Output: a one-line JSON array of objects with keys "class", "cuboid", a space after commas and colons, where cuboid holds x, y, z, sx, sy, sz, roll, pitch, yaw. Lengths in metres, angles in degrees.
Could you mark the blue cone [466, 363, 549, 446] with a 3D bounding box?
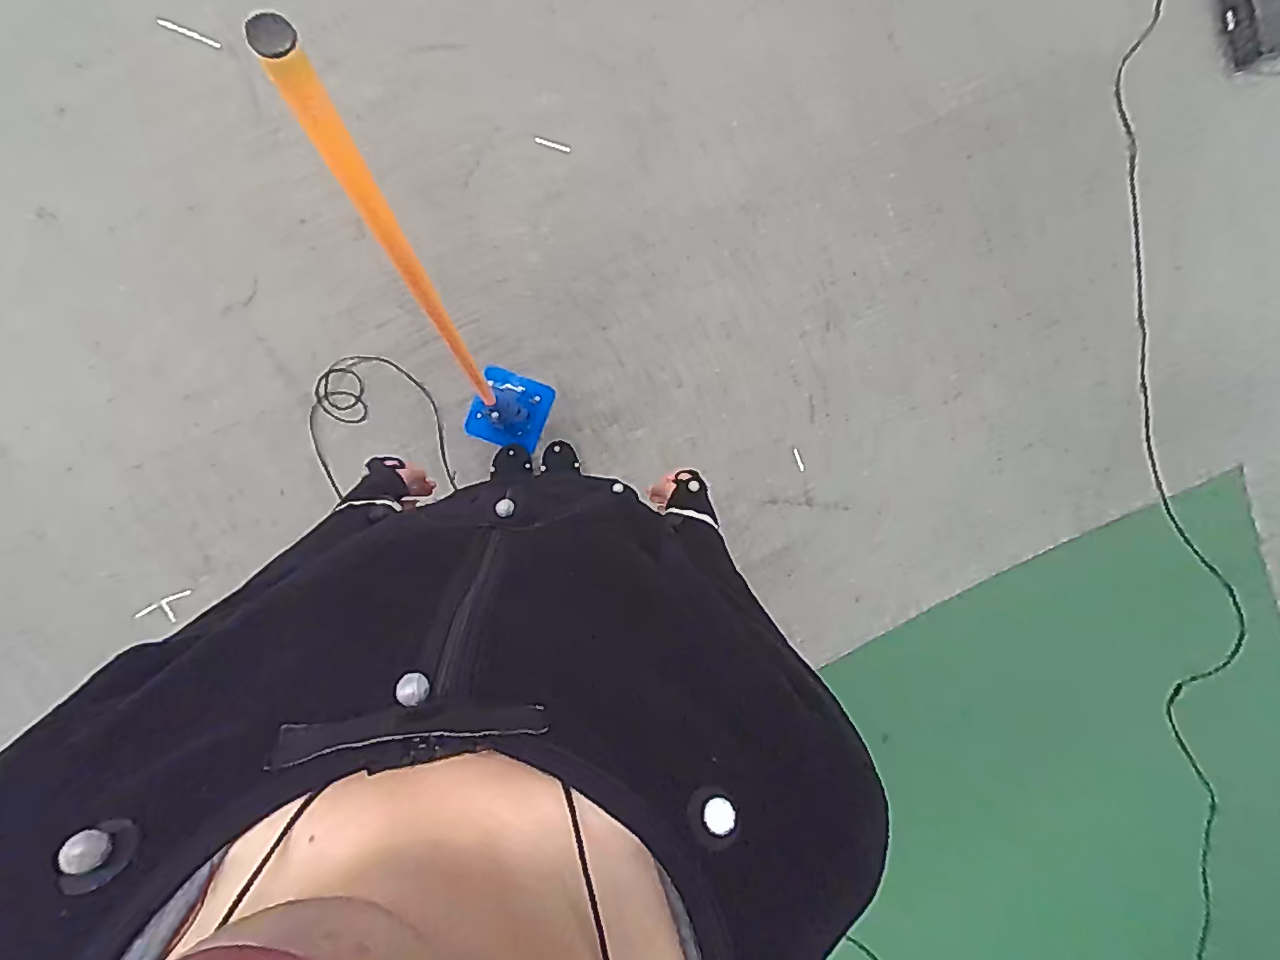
[{"class": "blue cone", "cuboid": [-0.331, -0.191, 1.276, 0.192, 0.380, 0.193, 20, 91, -8]}]
